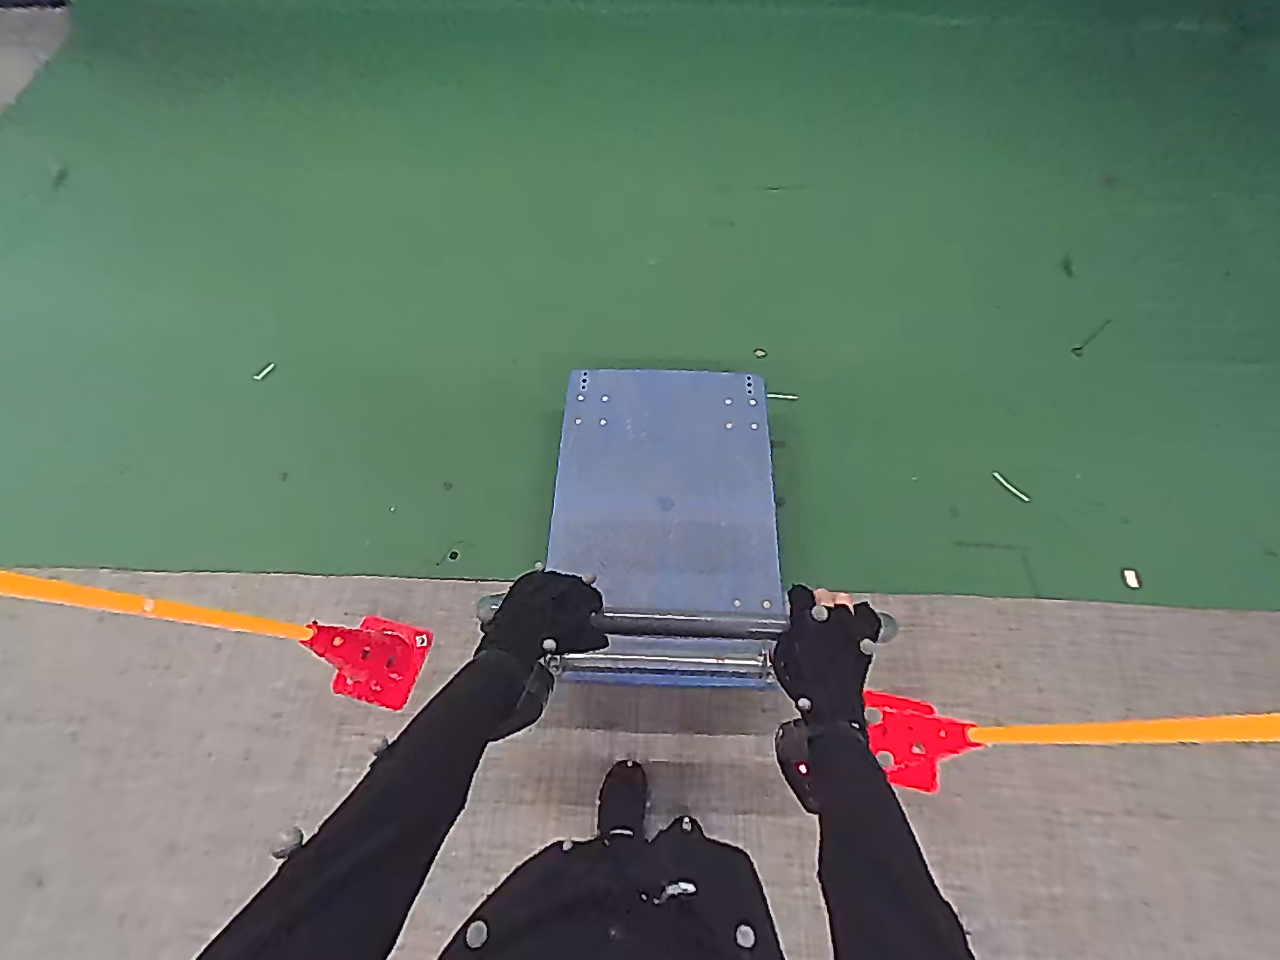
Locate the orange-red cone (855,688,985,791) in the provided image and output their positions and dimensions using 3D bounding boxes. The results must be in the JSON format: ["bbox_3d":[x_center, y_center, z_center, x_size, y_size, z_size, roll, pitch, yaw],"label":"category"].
[{"bbox_3d":[0.620,0.545,1.150,0.198,0.360,0.199,11,64,6],"label":"orange-red cone"}]
